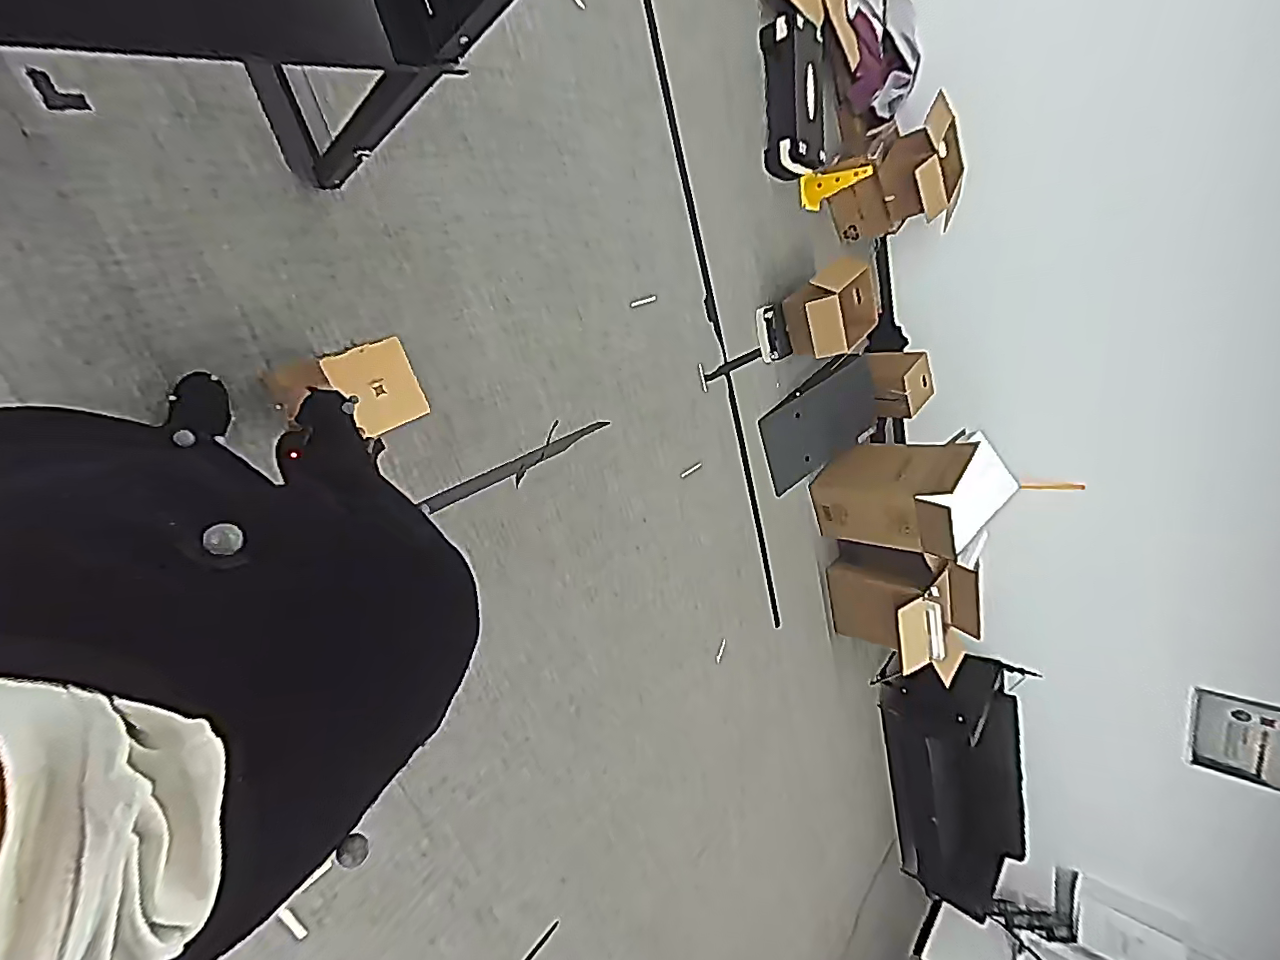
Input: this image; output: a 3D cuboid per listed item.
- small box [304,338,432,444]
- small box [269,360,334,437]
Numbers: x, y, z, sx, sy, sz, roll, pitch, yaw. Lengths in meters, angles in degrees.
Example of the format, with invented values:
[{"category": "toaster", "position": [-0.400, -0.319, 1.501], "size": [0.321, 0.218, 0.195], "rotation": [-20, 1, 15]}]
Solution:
[{"category": "small box", "position": [-0.588, -0.192, 1.171], "size": [0.168, 0.176, 0.179], "rotation": [-35, 118, -36]}, {"category": "small box", "position": [-0.819, -0.221, 1.401], "size": [0.179, 0.176, 0.168], "rotation": [-33, 116, -36]}]
